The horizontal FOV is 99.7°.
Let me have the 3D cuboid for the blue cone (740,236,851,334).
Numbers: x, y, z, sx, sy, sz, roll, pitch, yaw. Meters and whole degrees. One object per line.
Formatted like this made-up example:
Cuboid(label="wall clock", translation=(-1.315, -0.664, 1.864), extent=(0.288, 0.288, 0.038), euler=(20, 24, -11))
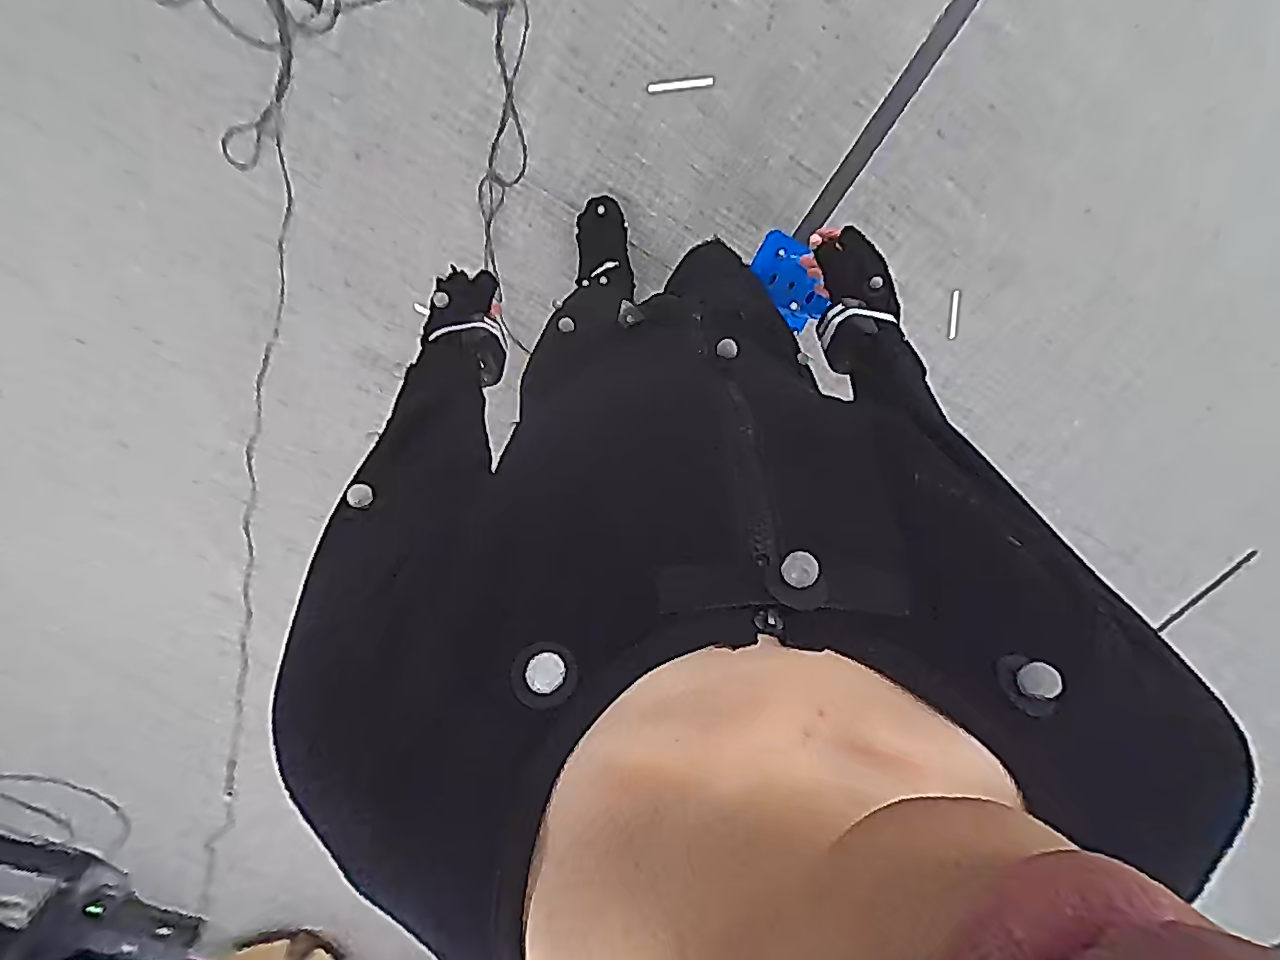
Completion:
Cuboid(label="blue cone", translation=(0.364, -0.404, 1.184), extent=(0.192, 0.380, 0.193), euler=(24, 113, -14))
